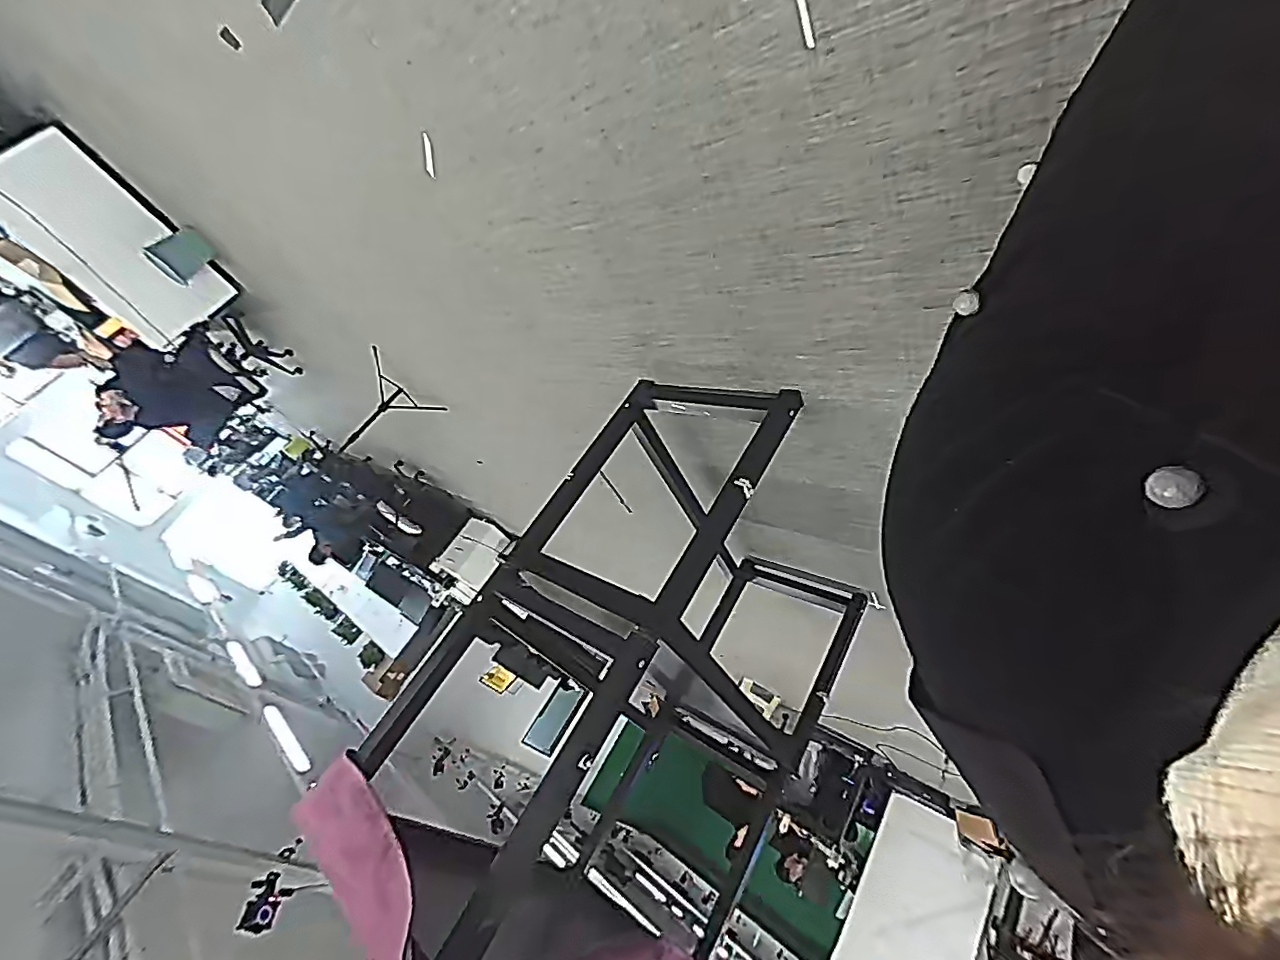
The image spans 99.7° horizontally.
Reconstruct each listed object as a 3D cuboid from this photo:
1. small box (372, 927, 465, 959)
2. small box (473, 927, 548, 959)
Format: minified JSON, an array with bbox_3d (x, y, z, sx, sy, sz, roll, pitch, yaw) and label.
[{"bbox_3d":[-0.453,1.033,1.074,0.179,0.176,0.168,16,153,38],"label":"small box"},{"bbox_3d":[-0.318,1.233,1.302,0.179,0.176,0.168,11,149,46],"label":"small box"}]
